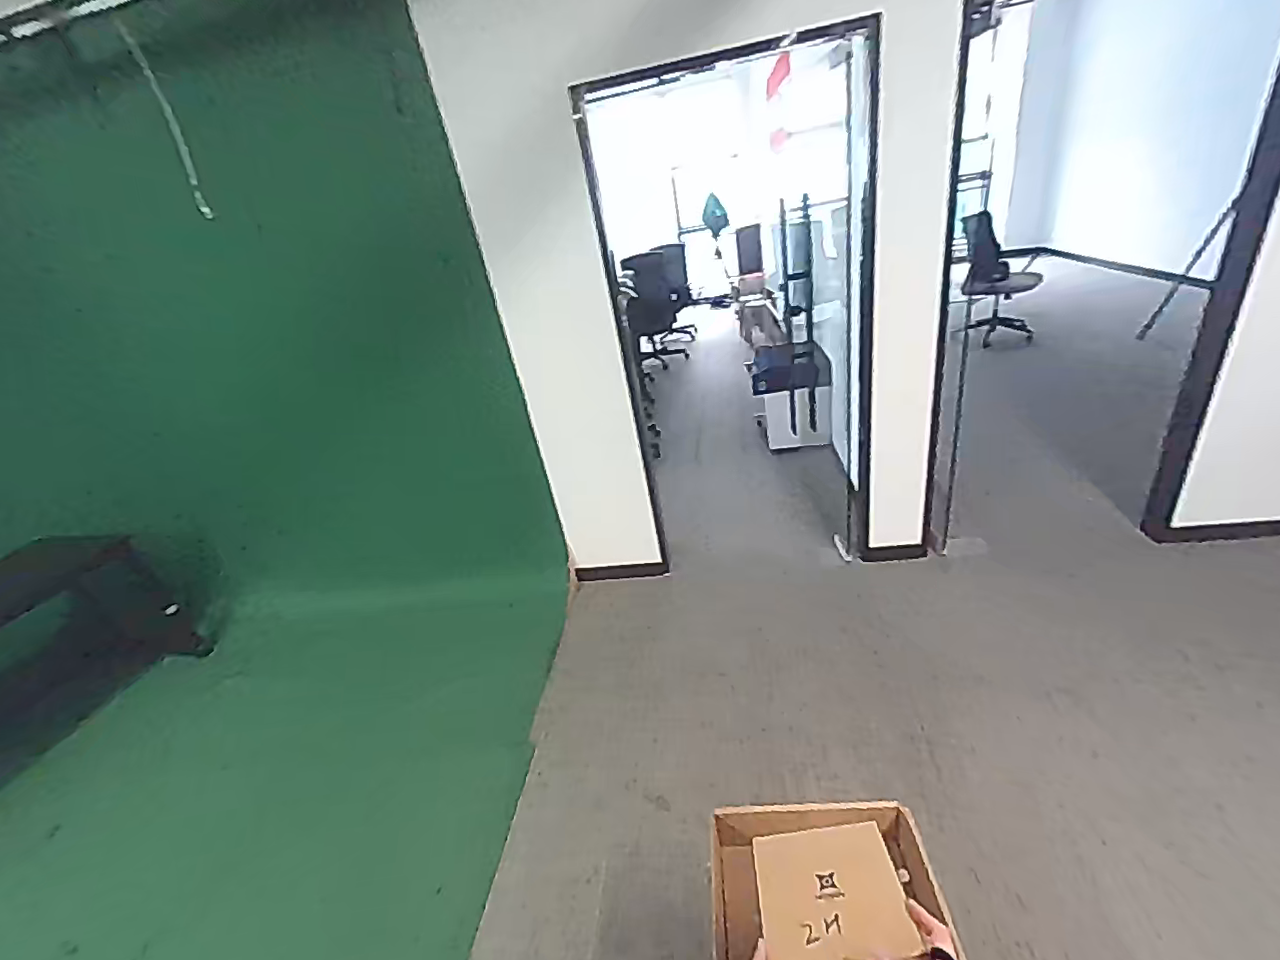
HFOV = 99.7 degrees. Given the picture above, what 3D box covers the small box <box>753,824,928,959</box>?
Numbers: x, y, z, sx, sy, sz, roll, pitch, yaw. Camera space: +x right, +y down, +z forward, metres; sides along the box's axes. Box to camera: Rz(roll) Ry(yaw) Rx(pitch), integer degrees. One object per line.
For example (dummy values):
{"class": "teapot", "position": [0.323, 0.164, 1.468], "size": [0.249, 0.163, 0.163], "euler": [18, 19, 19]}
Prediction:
{"class": "small box", "position": [0.237, 0.555, 0.640], "size": [0.168, 0.176, 0.179], "euler": [-14, 9, 9]}
